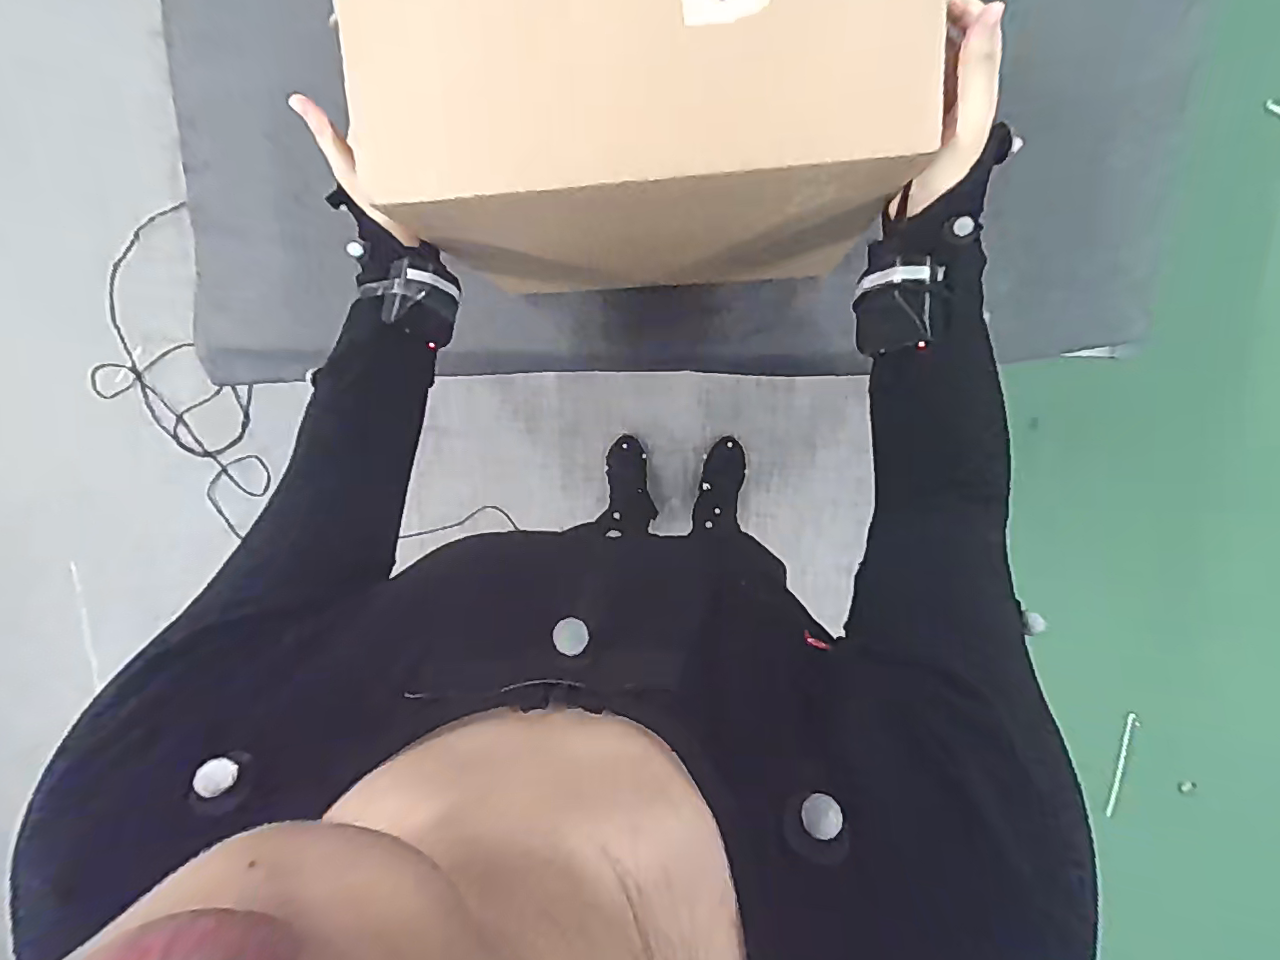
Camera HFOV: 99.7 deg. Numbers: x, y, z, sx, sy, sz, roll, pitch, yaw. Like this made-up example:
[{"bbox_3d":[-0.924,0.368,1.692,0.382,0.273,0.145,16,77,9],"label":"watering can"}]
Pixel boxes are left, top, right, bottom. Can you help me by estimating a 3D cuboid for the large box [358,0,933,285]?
[{"bbox_3d":[0.006,-0.393,0.515,0.408,0.320,0.320,-2,98,6],"label":"large box"}]
